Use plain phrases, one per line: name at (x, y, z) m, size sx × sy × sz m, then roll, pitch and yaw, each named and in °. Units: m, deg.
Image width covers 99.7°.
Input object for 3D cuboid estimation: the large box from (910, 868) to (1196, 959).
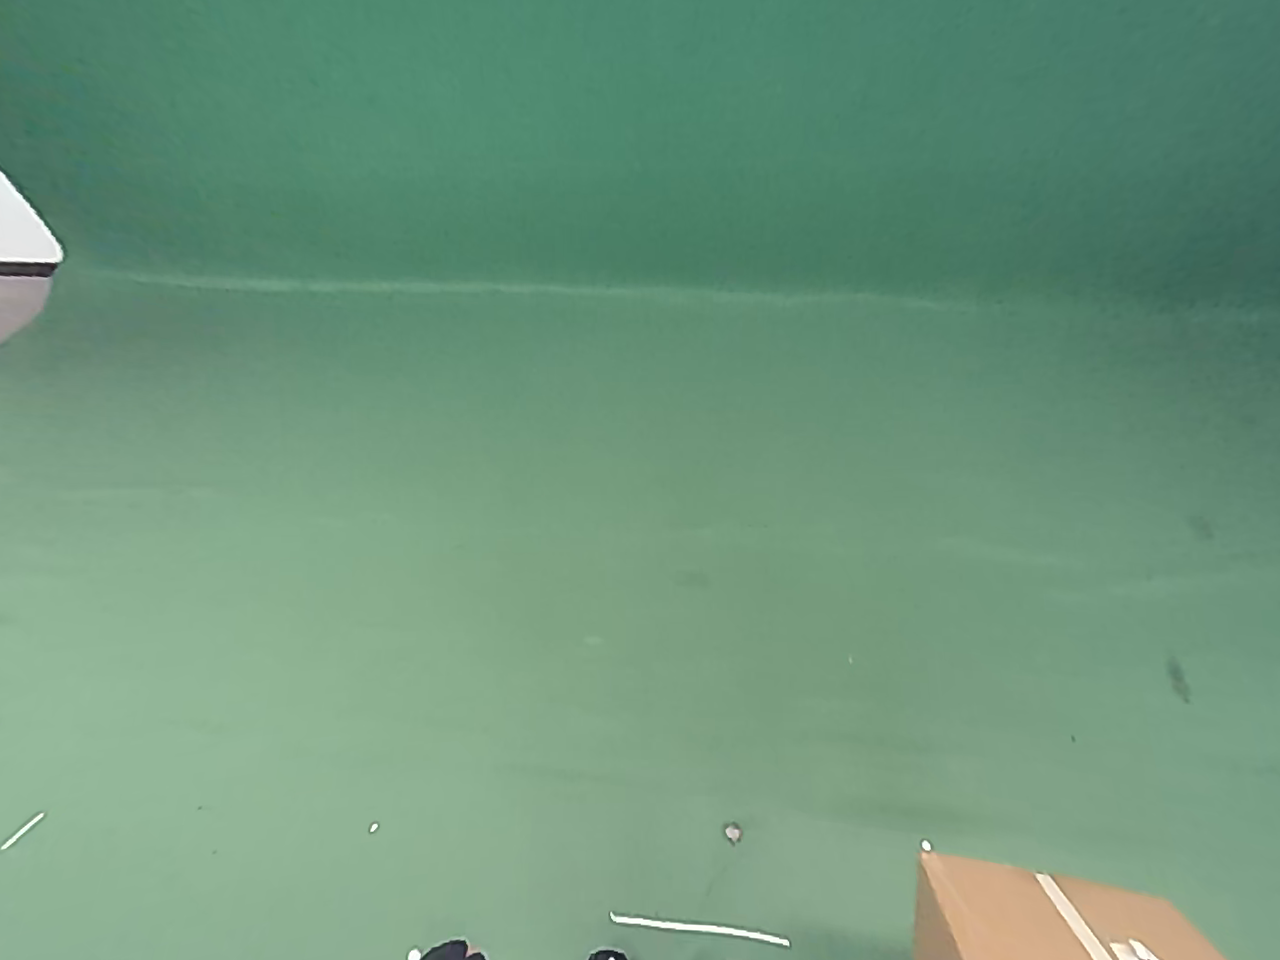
large box at (0.501, 0.725, 0.571) m, size 0.320 × 0.408 × 0.320 m, roll 5°, pitch 89°, yaw 13°
